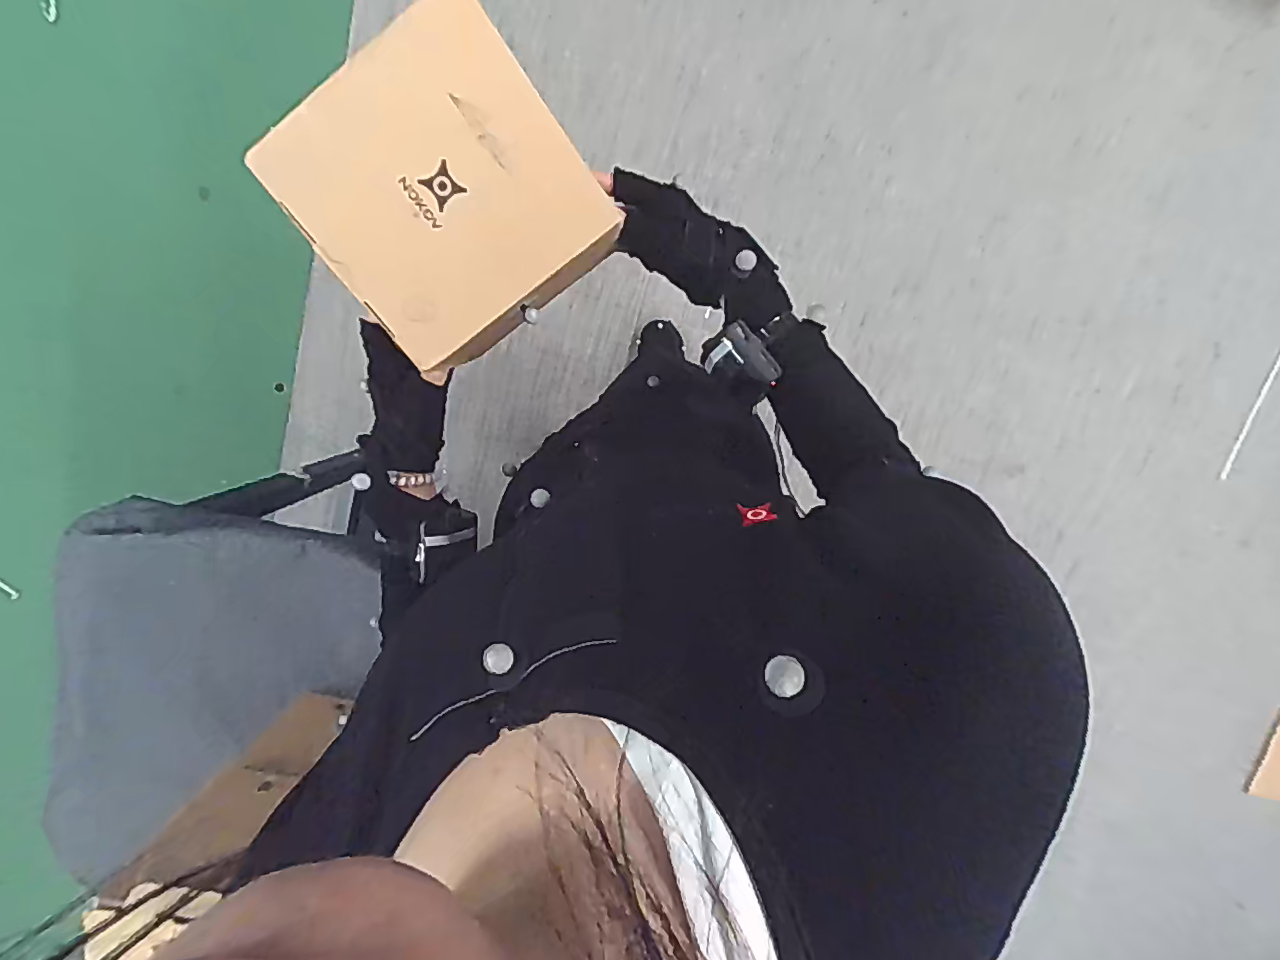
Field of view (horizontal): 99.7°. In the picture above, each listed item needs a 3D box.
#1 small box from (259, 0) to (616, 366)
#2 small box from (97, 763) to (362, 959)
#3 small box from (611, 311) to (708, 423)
[{"bbox_3d":[-0.132,-0.212,0.429,0.179,0.176,0.168,-35,106,7],"label":"small box"},{"bbox_3d":[-0.429,0.448,0.591,0.168,0.176,0.179,13,103,-3],"label":"small box"},{"bbox_3d":[0.047,-0.279,1.357,0.179,0.176,0.168,-42,69,-16],"label":"small box"}]
